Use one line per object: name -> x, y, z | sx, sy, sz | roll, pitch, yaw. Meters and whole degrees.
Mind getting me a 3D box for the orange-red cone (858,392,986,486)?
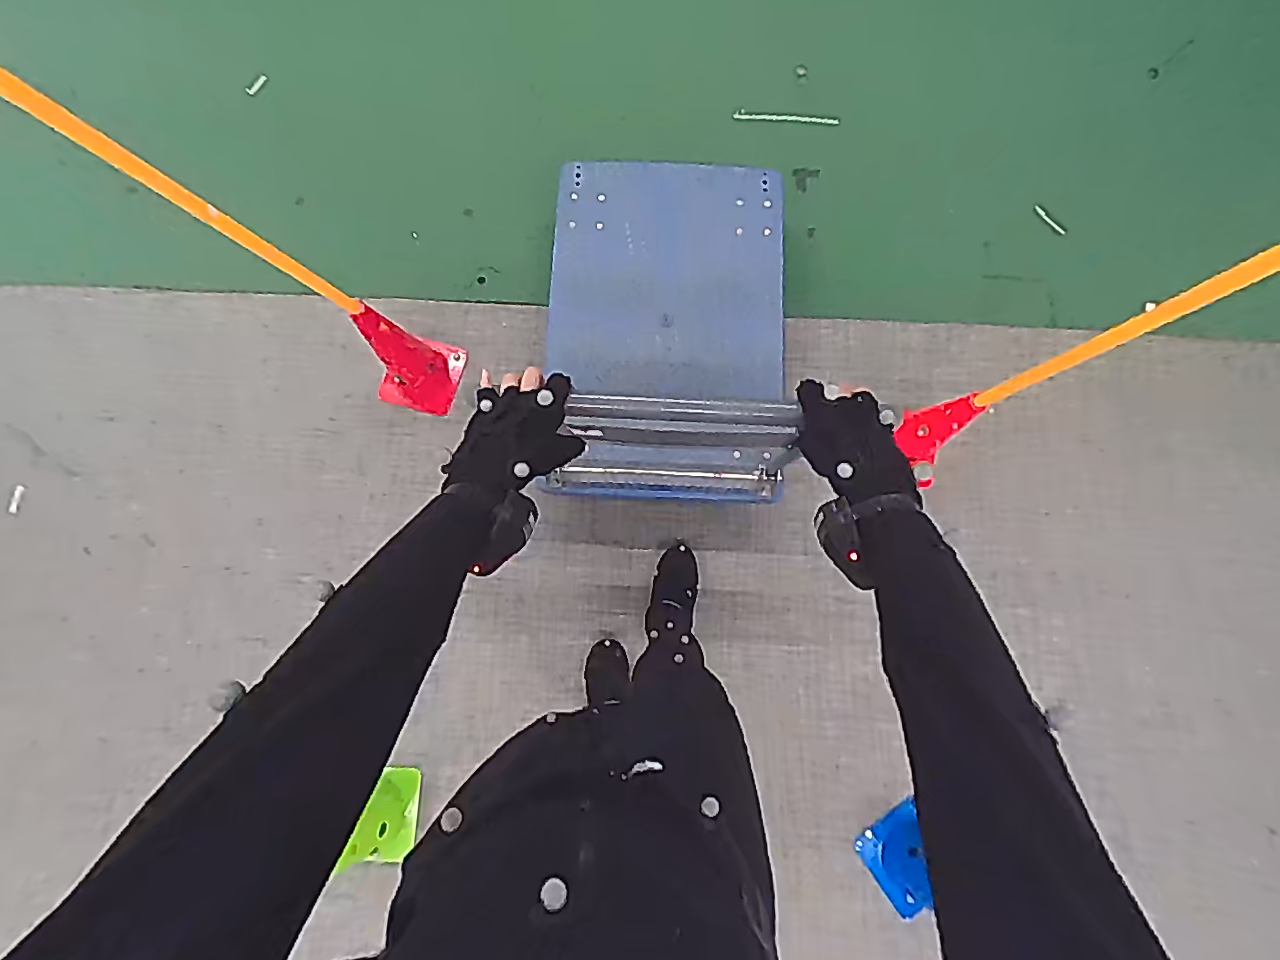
orange-red cone -> 0.681, -0.125, 1.255 | 0.198, 0.360, 0.199 | 14, 80, 4
